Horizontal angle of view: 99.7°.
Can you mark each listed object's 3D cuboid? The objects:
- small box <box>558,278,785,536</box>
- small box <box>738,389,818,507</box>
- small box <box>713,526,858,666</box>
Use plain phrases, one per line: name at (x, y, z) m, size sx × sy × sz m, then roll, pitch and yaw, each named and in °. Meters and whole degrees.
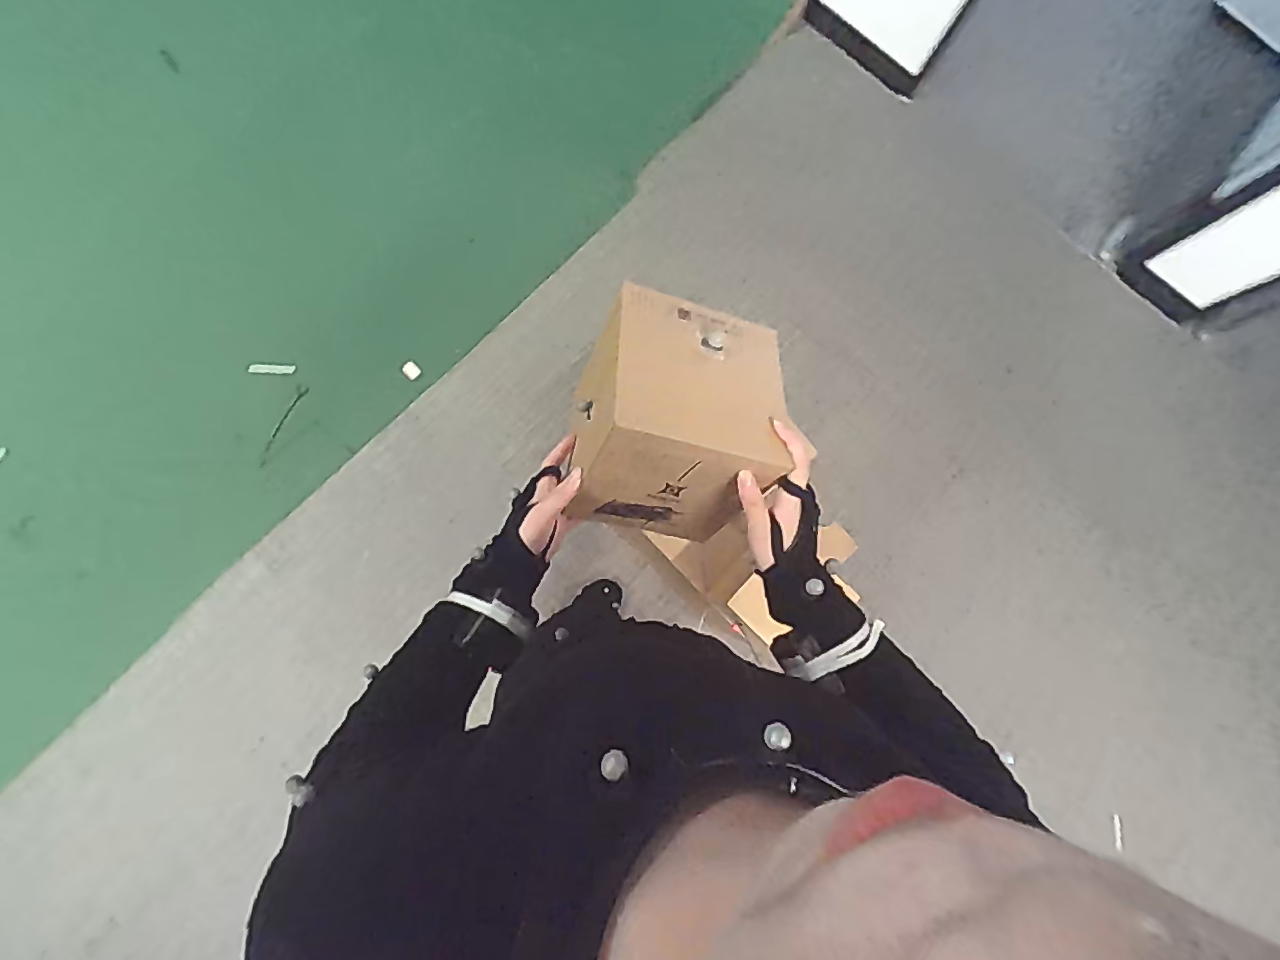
small box at (0.024, -0.064, 0.545) m, size 0.168 × 0.179 × 0.176 m, roll 11°, pitch 58°, yaw -17°
small box at (0.193, -0.060, 1.030) m, size 0.168 × 0.176 × 0.179 m, roll -37°, pitch 87°, yaw -10°
small box at (0.252, 0.206, 0.991) m, size 0.168 × 0.176 × 0.179 m, roll 45°, pitch 80°, yaw 2°
